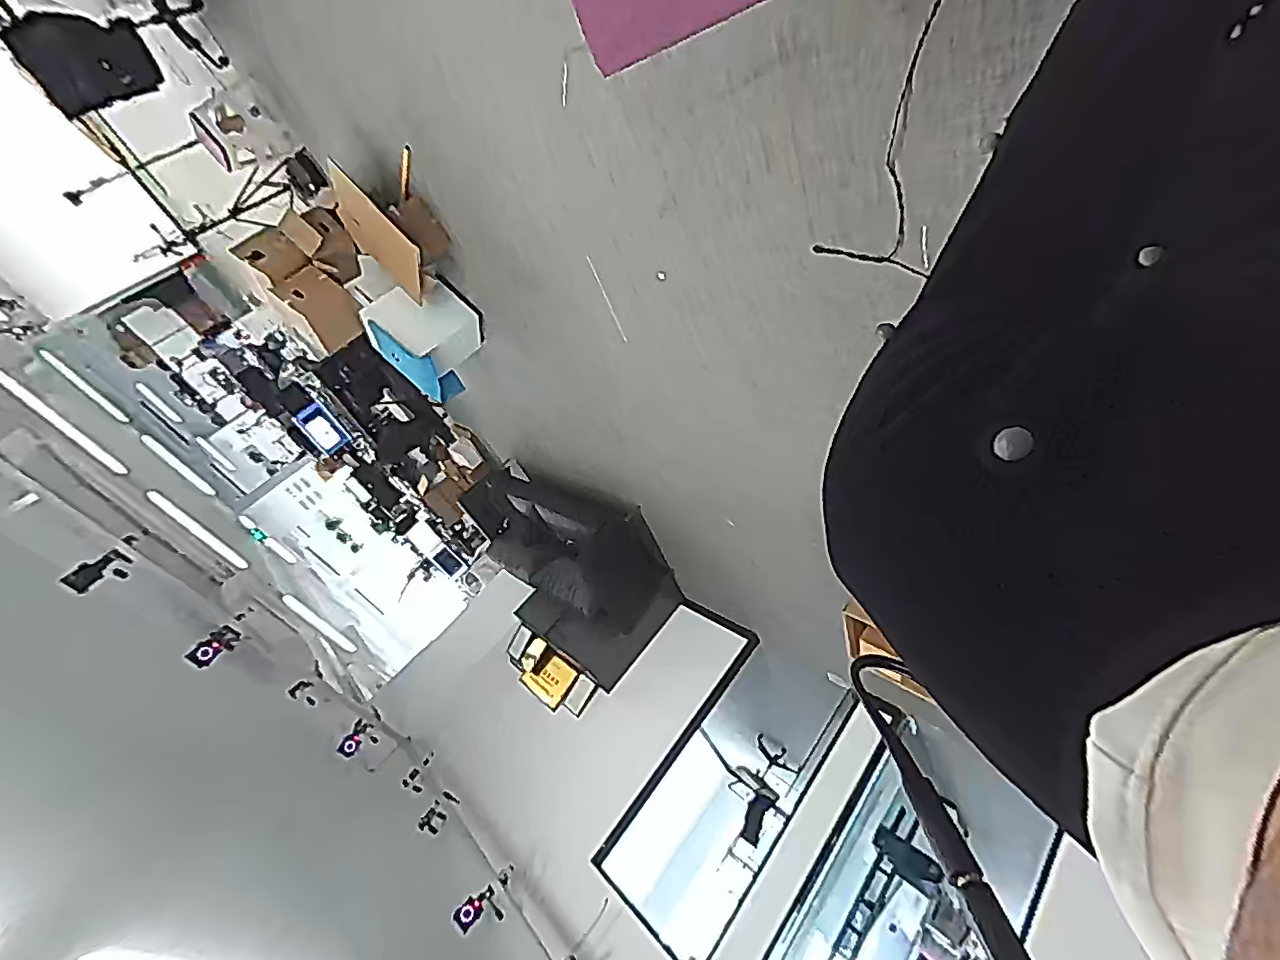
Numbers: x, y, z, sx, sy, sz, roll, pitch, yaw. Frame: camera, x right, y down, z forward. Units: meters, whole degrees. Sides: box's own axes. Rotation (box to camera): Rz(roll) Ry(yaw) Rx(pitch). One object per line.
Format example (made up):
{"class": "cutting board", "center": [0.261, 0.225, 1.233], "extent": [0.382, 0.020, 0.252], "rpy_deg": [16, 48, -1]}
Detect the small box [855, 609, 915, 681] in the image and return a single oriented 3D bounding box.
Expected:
{"class": "small box", "center": [0.970, 0.650, 2.141], "extent": [0.168, 0.176, 0.179], "rpy_deg": [24, 148, 39]}
